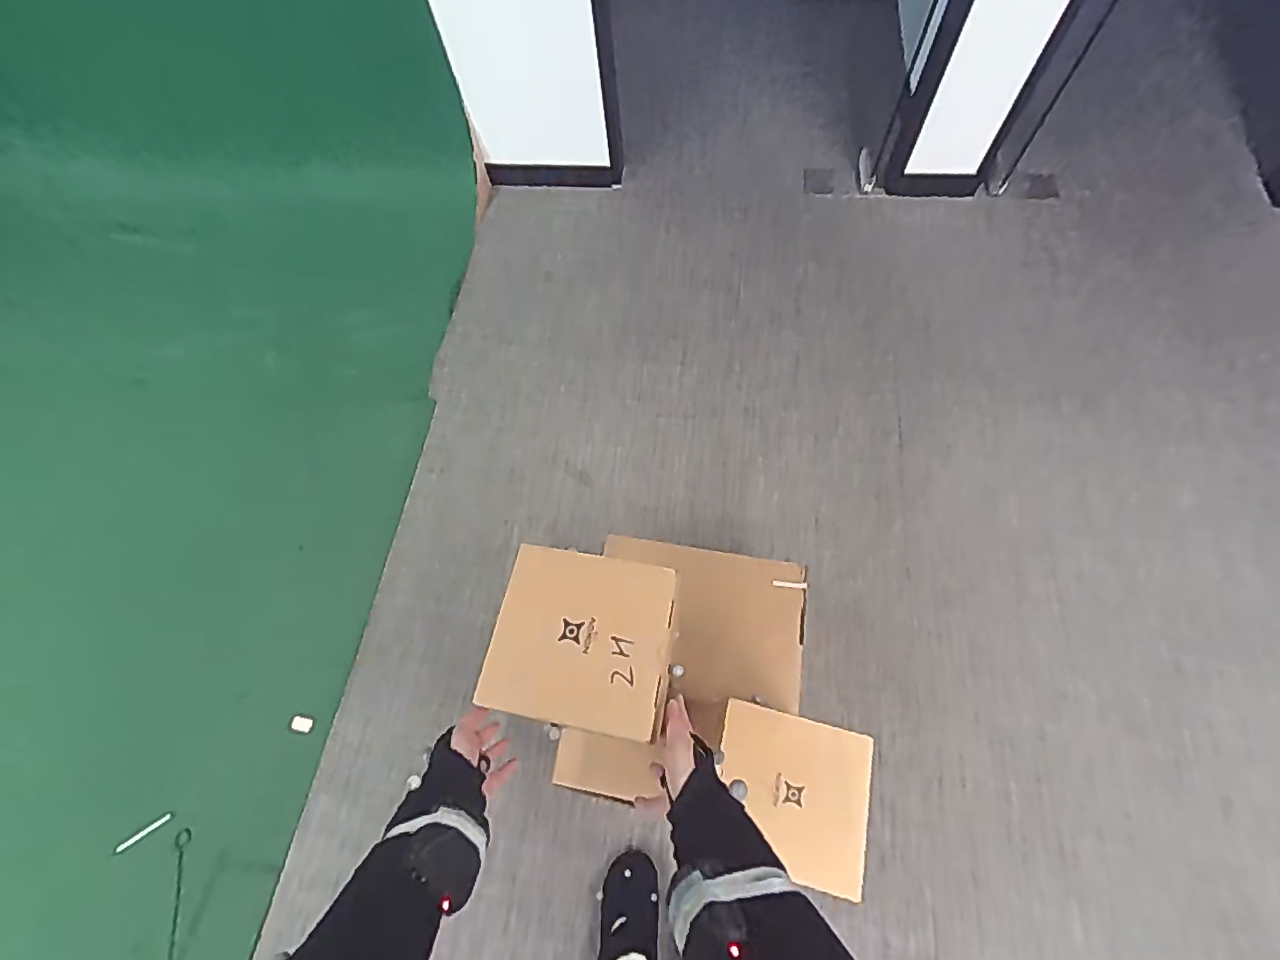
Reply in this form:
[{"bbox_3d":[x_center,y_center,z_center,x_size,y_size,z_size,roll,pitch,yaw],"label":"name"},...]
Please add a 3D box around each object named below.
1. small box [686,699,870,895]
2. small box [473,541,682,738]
[{"bbox_3d":[0.166,0.384,0.679,0.179,0.176,0.168,12,63,2],"label":"small box"},{"bbox_3d":[-0.053,0.184,0.603,0.179,0.176,0.168,9,65,9],"label":"small box"}]
